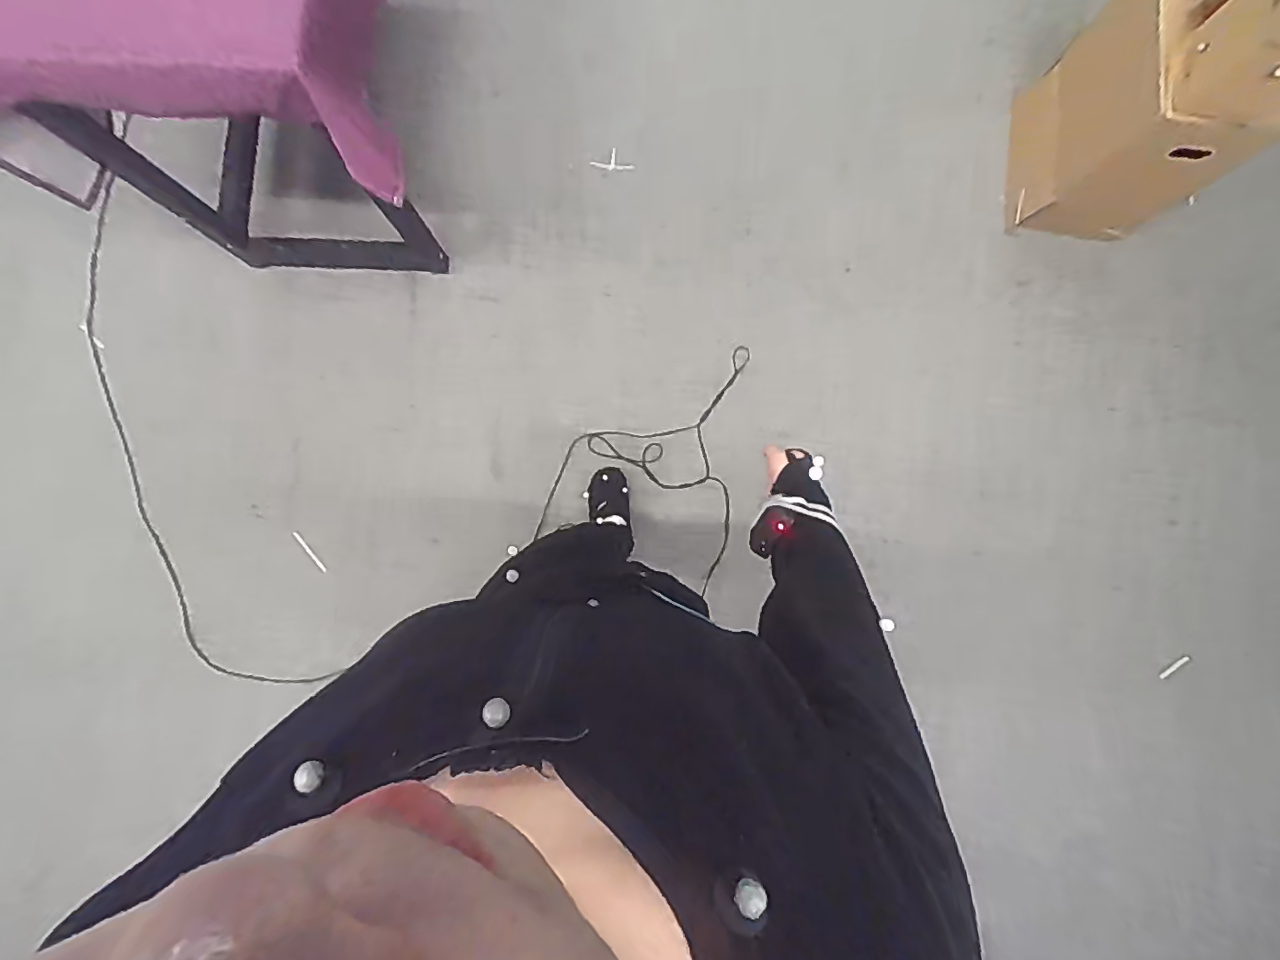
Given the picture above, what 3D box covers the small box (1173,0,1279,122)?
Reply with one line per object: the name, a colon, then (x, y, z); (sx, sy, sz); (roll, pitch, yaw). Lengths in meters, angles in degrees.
small box: (1.233, -0.855, 1.073); (0.179, 0.176, 0.168); (12, 84, 1)
